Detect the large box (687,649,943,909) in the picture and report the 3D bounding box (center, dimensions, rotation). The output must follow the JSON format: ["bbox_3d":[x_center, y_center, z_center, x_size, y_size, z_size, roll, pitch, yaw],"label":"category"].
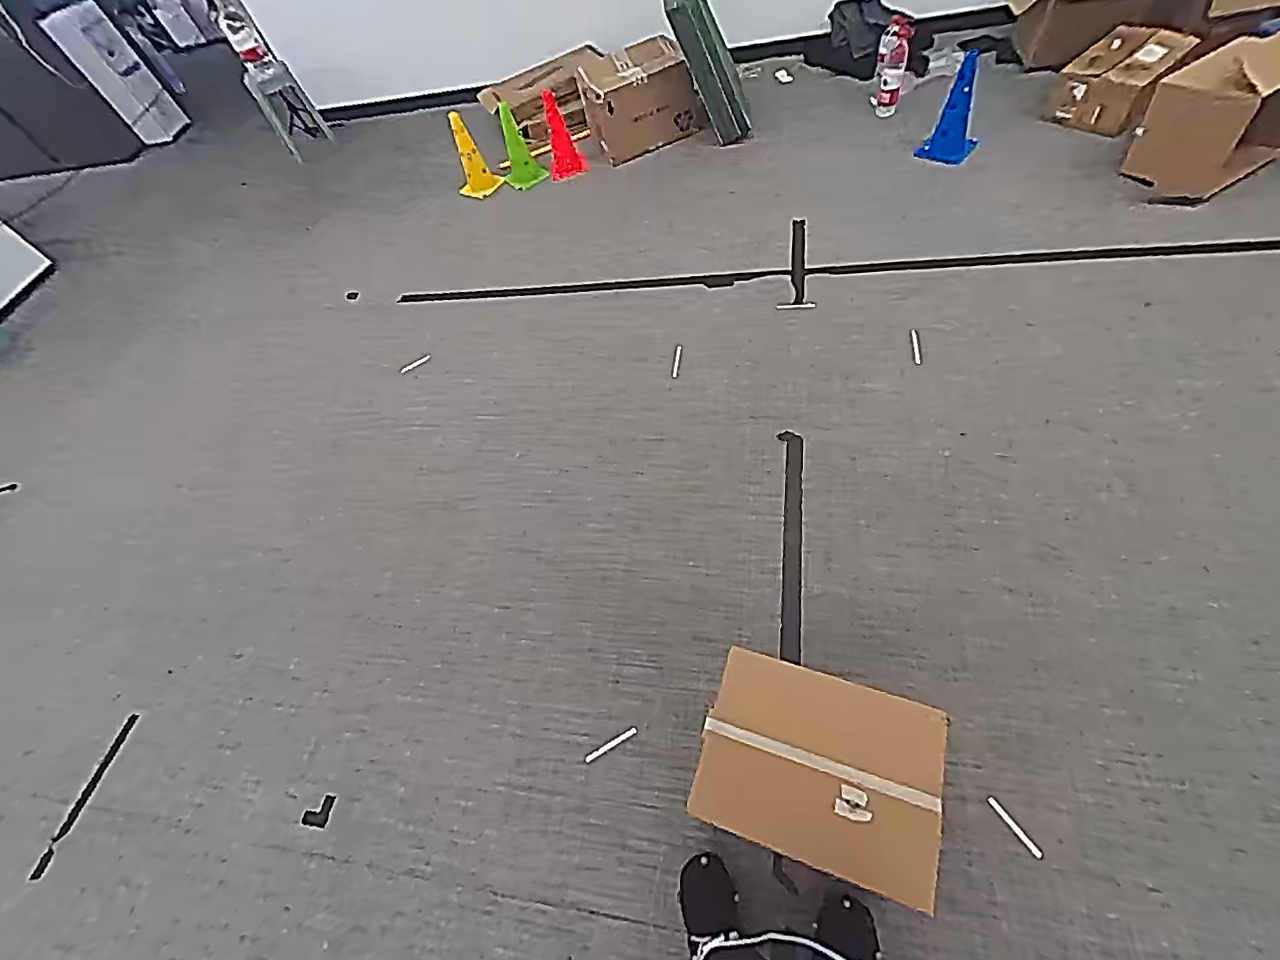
[{"bbox_3d":[0.336,0.583,1.090,0.408,0.320,0.320,13,62,18],"label":"large box"}]
